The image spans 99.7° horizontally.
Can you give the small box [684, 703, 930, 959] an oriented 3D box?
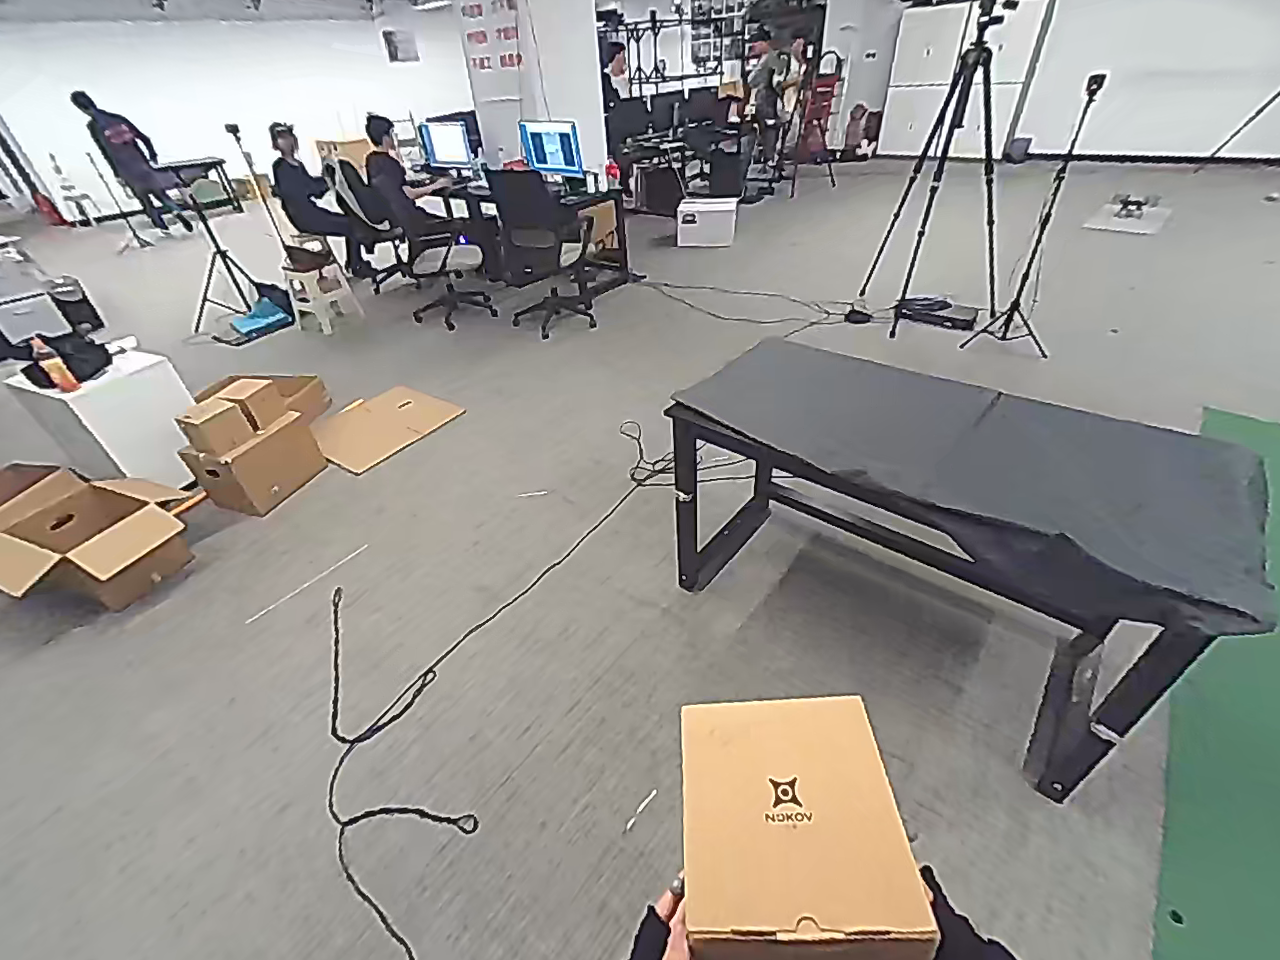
[{"bbox_3d":[0.129,0.328,0.482,0.168,0.176,0.179,-6,34,7],"label":"small box"}]
